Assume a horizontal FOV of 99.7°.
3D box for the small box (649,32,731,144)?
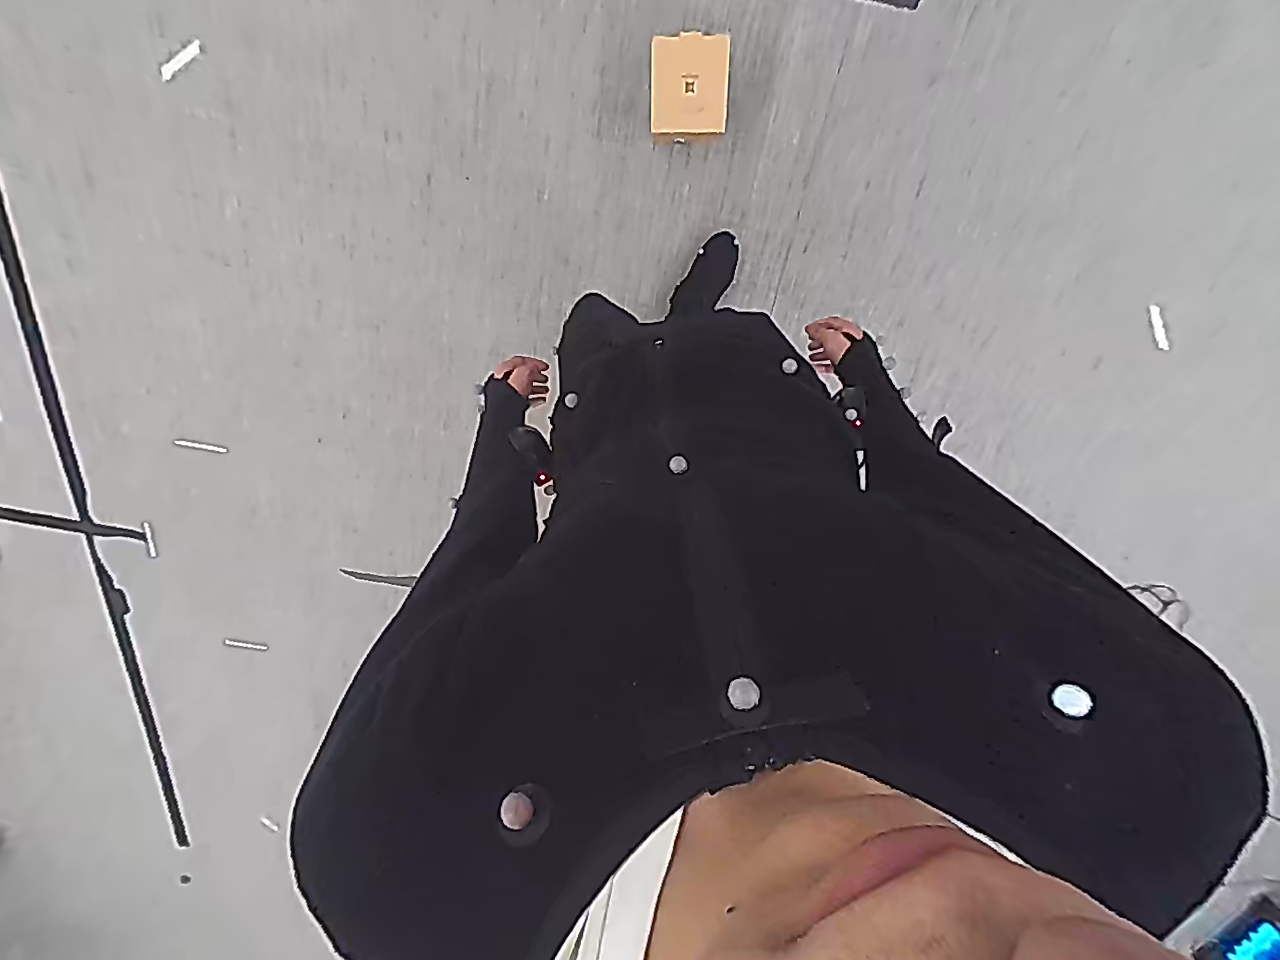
[{"bbox_3d":[0.105,-0.873,1.216,0.168,0.176,0.179,0,115,1],"label":"small box"}]
